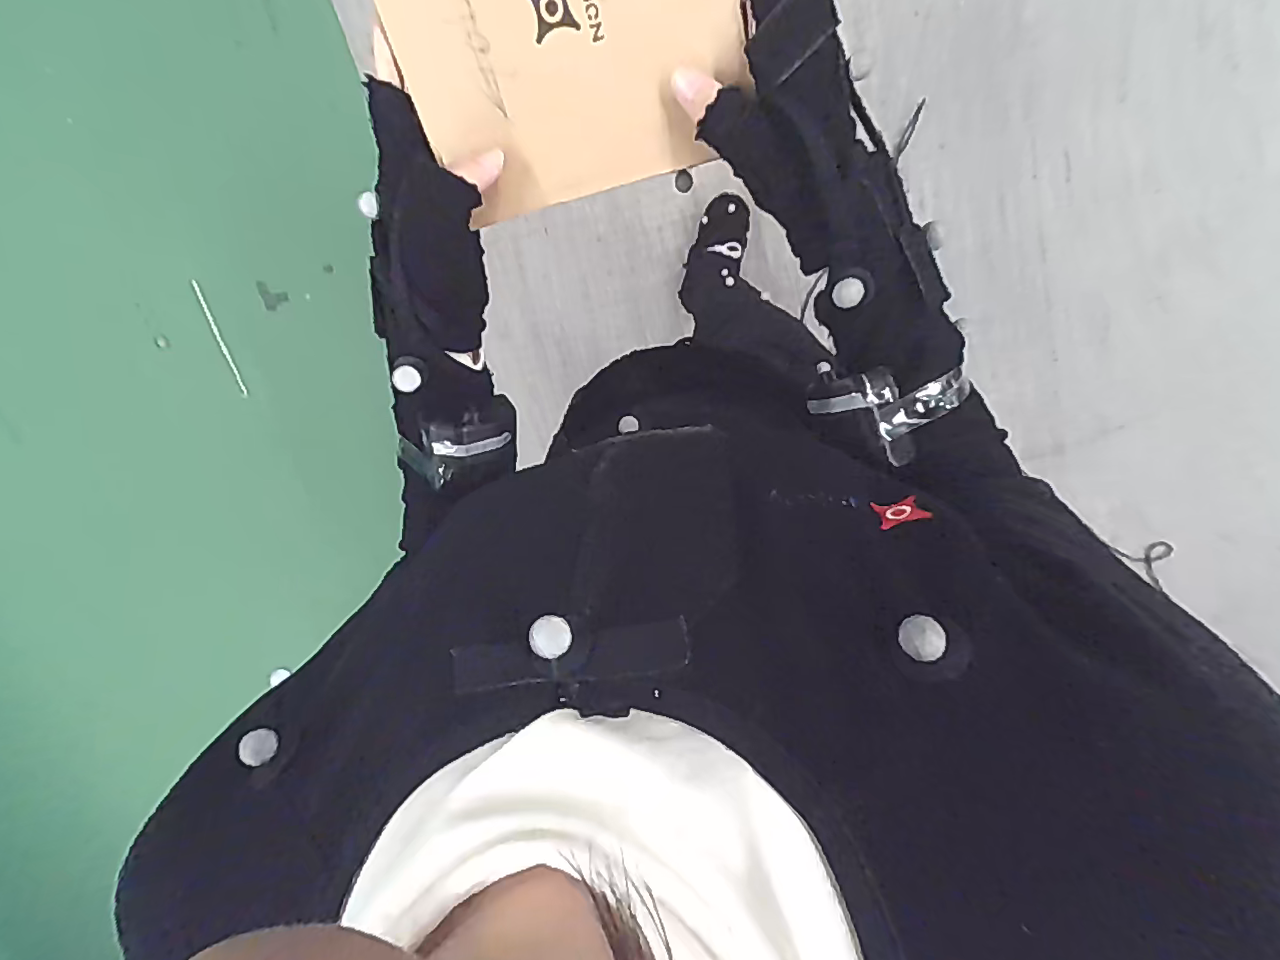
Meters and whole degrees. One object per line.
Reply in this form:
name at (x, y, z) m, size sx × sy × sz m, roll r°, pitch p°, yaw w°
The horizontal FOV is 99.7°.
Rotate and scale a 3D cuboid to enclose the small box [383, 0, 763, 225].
small box at (-0.033, -0.275, 0.332) m, size 0.179 × 0.176 × 0.168 m, roll -11°, pitch 120°, yaw 11°
